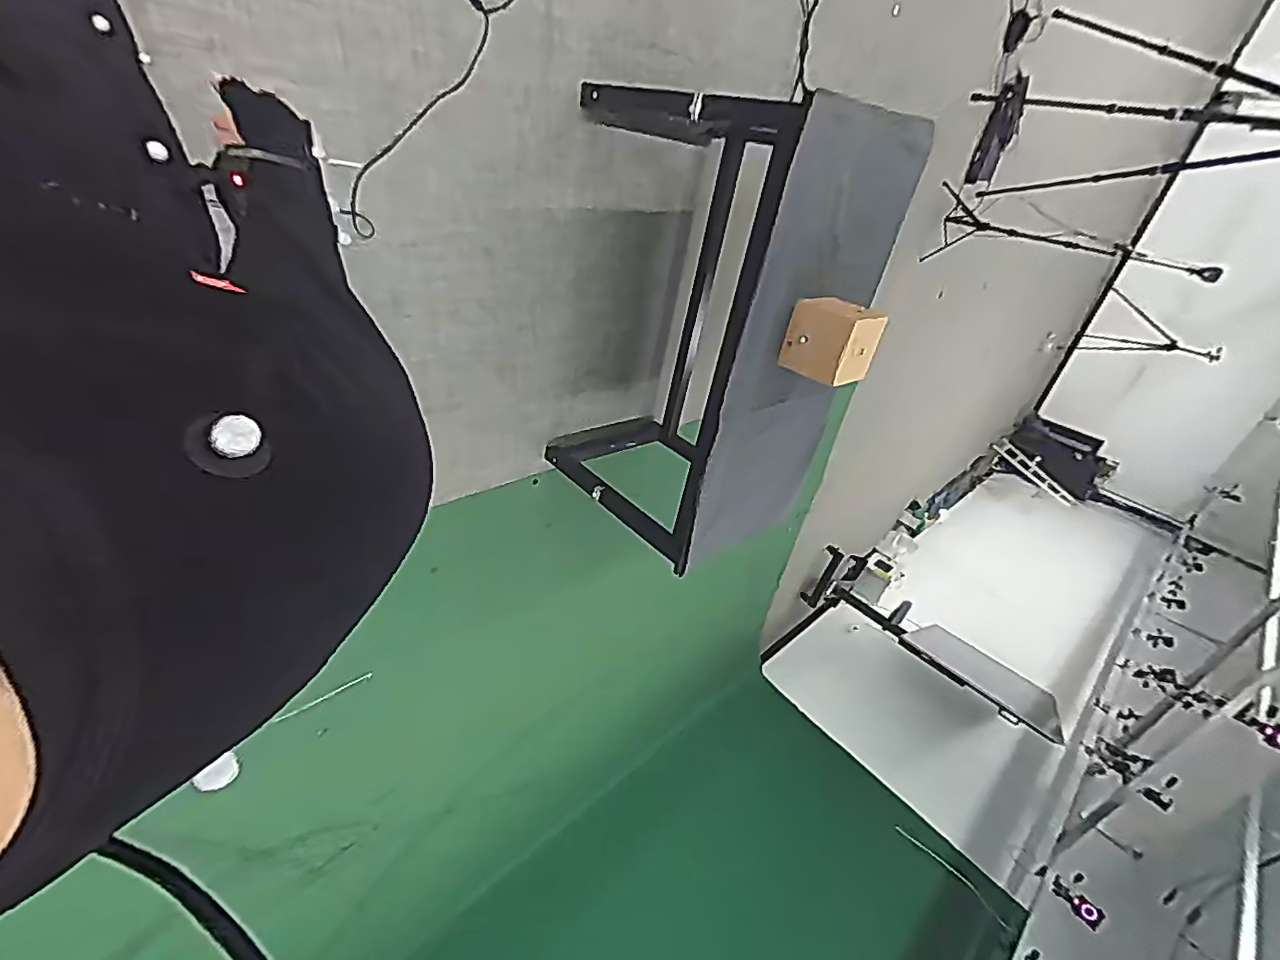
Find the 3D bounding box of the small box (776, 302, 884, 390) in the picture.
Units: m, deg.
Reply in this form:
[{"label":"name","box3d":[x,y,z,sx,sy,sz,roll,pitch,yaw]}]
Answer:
[{"label":"small box","box3d":[0.478,-0.347,1.372,0.179,0.176,0.168,-18,132,-40]}]
